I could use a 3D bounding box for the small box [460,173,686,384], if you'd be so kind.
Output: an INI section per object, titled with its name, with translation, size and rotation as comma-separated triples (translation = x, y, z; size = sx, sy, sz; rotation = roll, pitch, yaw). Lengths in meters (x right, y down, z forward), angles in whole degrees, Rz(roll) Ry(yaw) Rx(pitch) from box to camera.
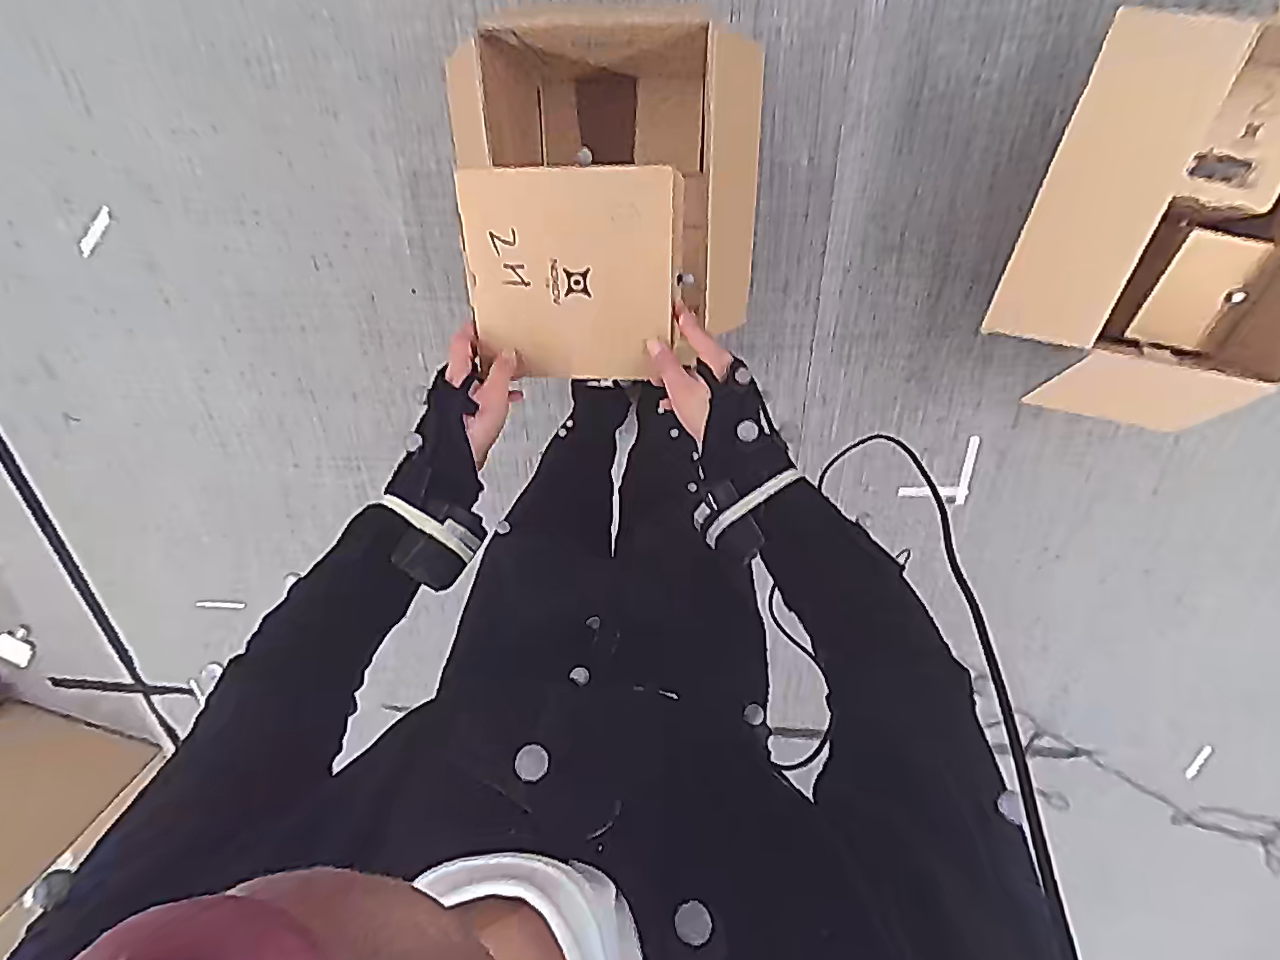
[small box]
translation = -0.047, -0.197, 0.519
size = 0.179, 0.176, 0.168
rotation = 3, 116, 6
